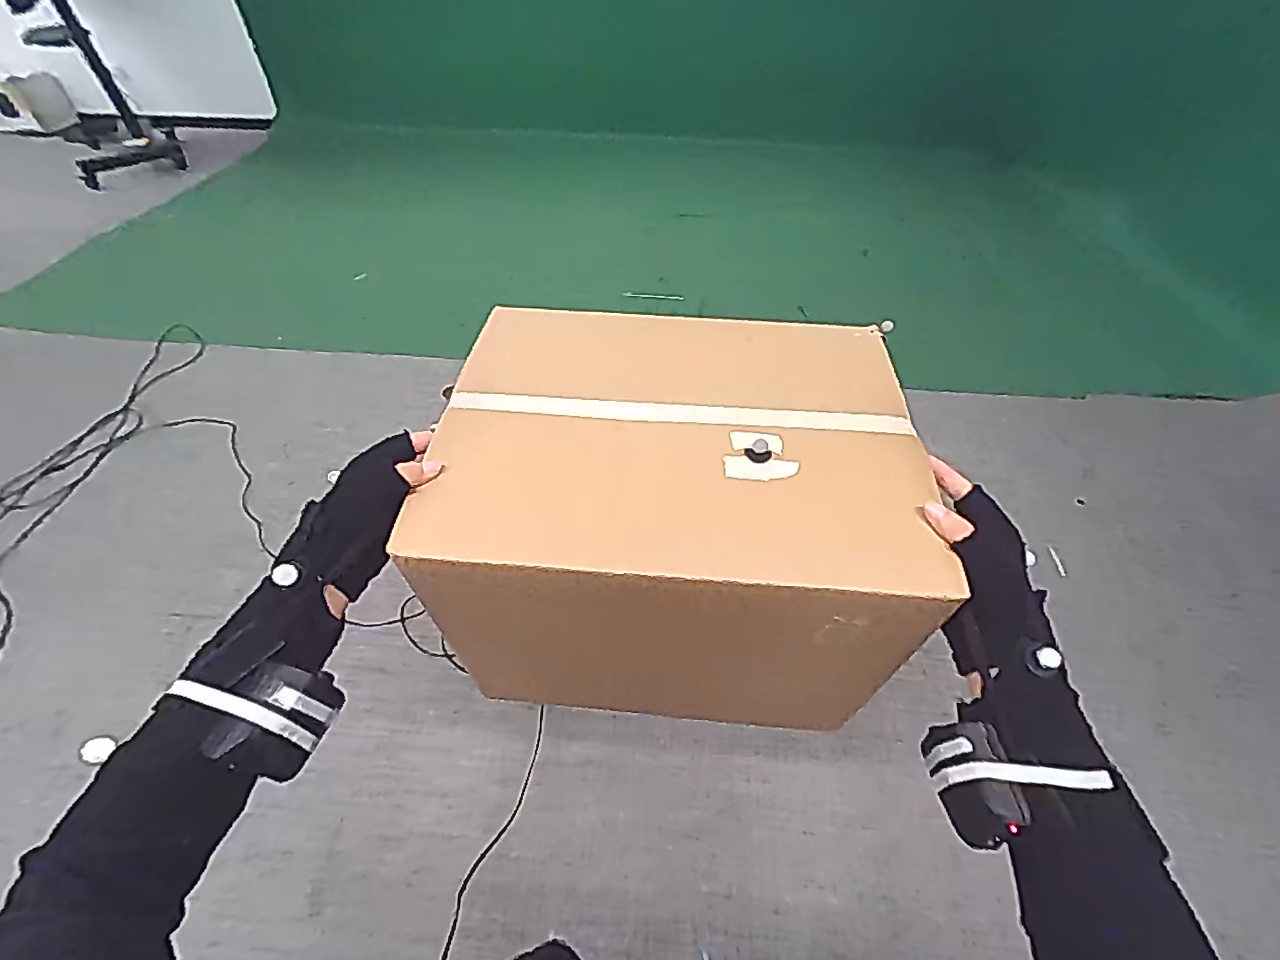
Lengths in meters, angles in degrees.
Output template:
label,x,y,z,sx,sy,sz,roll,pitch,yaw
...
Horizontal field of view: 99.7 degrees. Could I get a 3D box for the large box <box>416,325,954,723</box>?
label,x,y,z,sx,sy,sz,roll,pitch,yaw
large box,0.035,0.053,0.600,0.408,0.320,0.320,4,50,2
